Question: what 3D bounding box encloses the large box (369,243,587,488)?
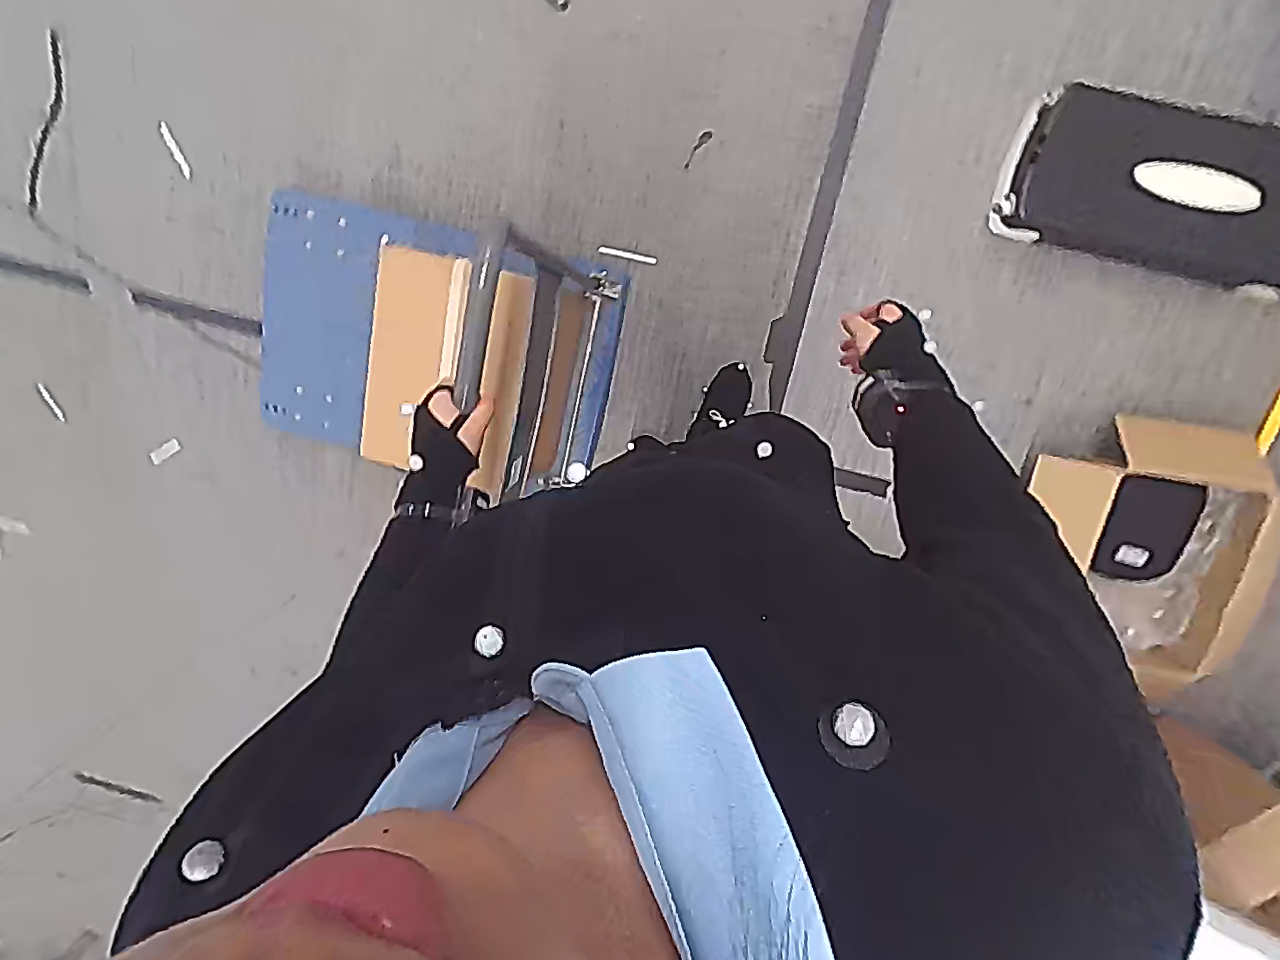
[{"bbox_3d":[-0.330,-0.236,1.157,0.320,0.320,0.408,15,104,4],"label":"large box"}]
